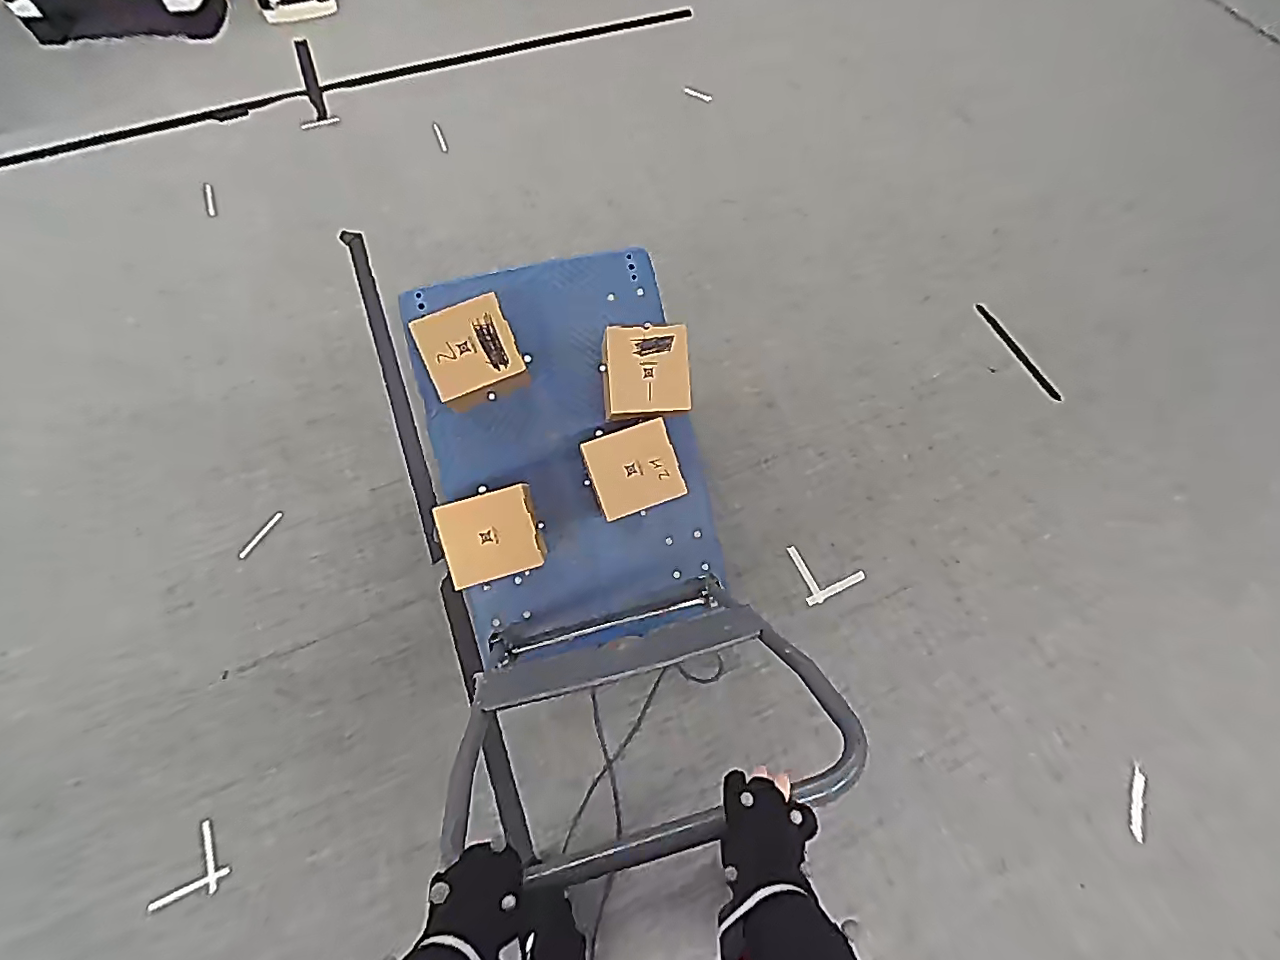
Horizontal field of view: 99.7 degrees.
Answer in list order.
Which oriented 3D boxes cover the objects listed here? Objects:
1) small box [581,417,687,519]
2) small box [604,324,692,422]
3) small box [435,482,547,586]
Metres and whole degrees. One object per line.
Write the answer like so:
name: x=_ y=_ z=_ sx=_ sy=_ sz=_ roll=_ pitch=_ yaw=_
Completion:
small box: x=-0.018 y=-0.023 z=1.156 sx=0.179 sy=0.176 sz=0.168 roll=-19 pitch=92 yaw=-6
small box: x=0.011 y=-0.224 z=1.161 sx=0.168 sy=0.176 sz=0.179 roll=-4 pitch=91 yaw=-6
small box: x=-0.300 y=0.108 z=1.123 sx=0.179 sy=0.176 sz=0.168 roll=-16 pitch=91 yaw=-8
